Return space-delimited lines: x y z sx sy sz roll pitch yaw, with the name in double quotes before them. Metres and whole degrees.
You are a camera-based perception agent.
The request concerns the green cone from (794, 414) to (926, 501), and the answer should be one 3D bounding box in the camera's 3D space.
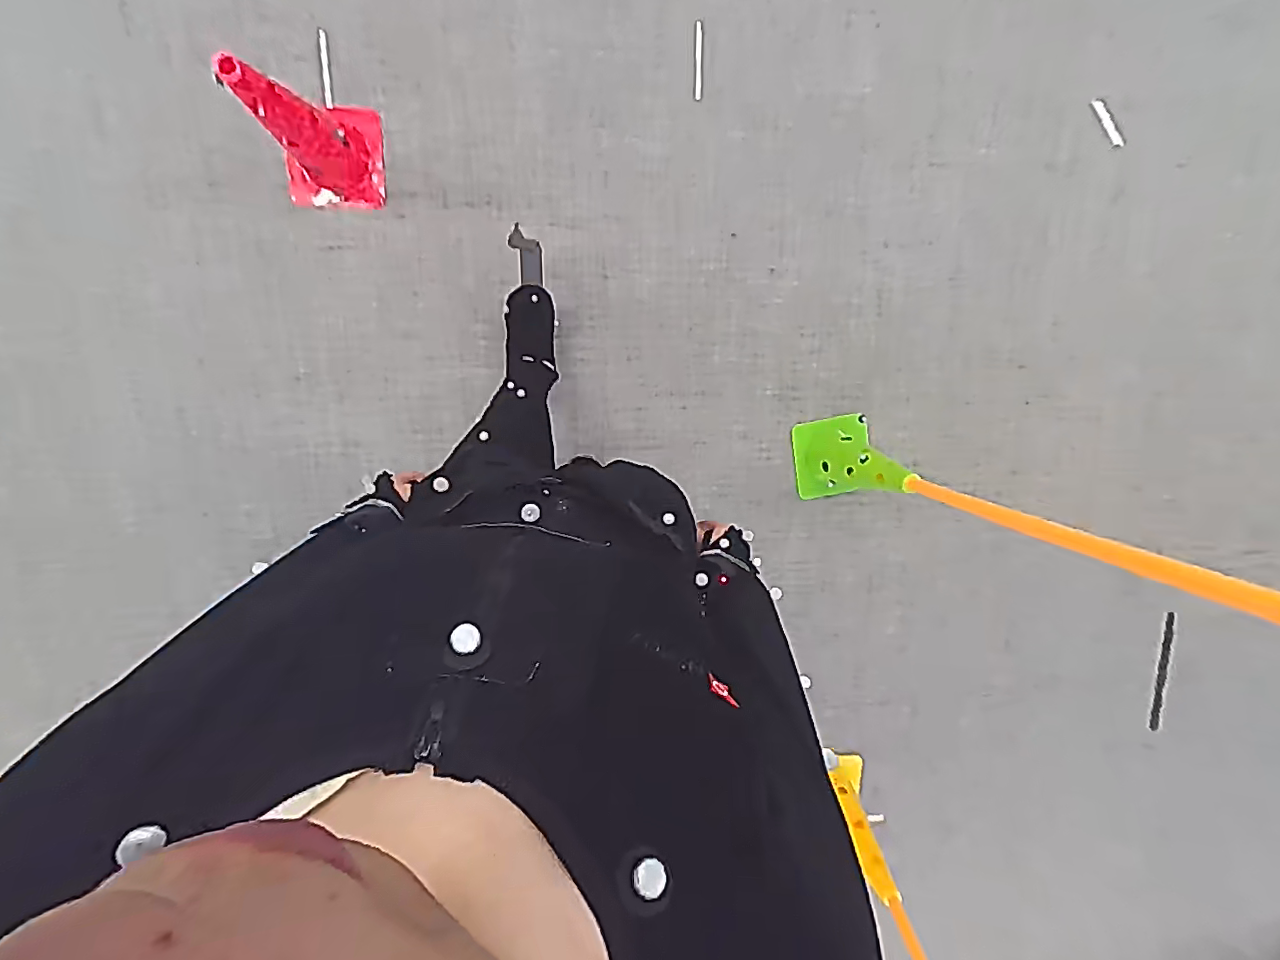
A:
"green cone" 0.514 -0.021 1.220 0.200 0.368 0.202 -12 103 -3
